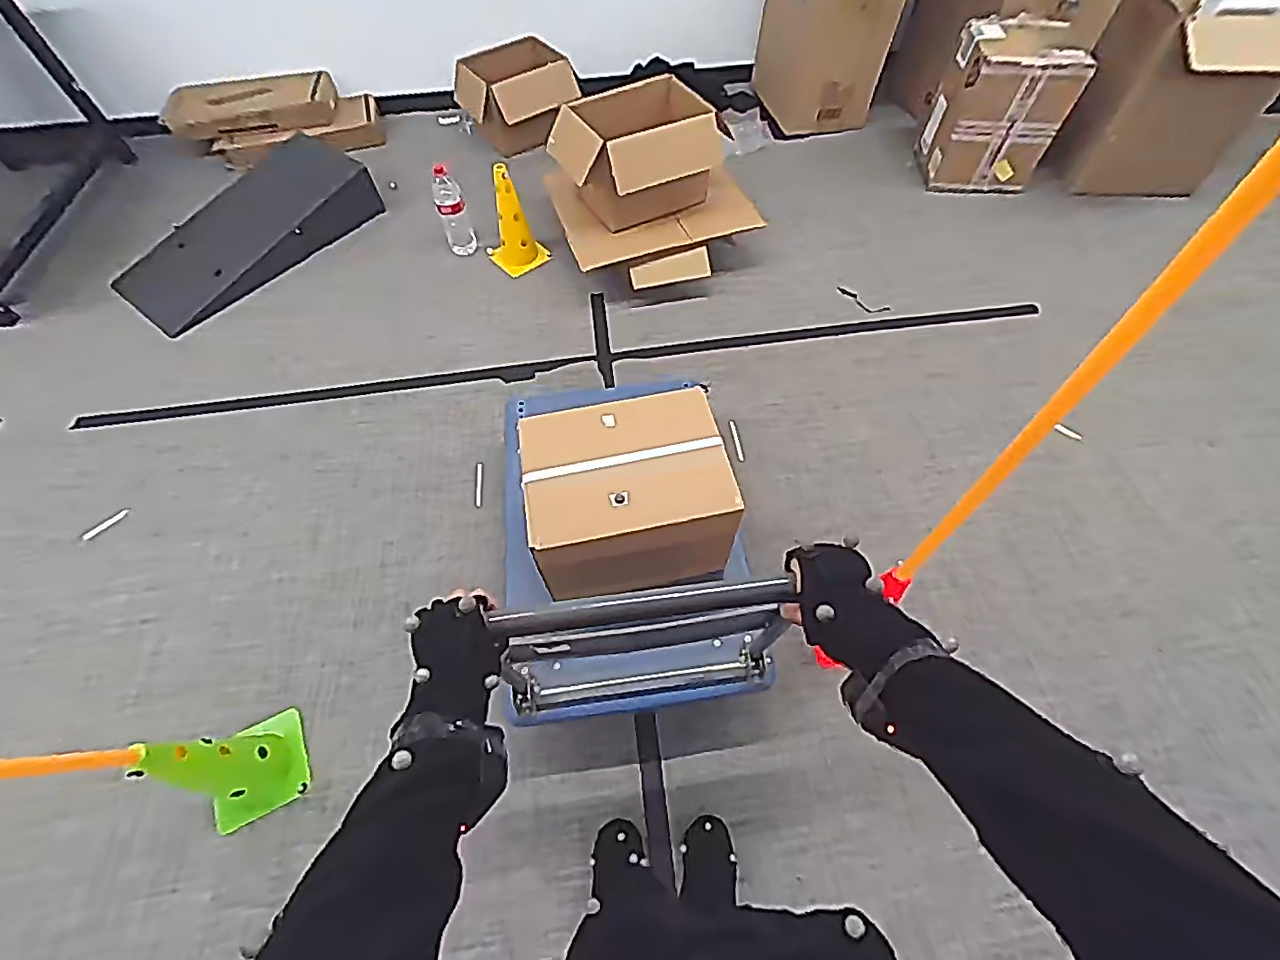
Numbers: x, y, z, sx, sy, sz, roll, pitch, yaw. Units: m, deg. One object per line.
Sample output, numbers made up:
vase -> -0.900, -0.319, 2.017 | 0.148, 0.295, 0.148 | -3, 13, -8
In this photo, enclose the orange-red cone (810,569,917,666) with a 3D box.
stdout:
orange-red cone -> 0.539, 0.284, 1.228 | 0.199, 0.360, 0.198 | -1, 59, 0
